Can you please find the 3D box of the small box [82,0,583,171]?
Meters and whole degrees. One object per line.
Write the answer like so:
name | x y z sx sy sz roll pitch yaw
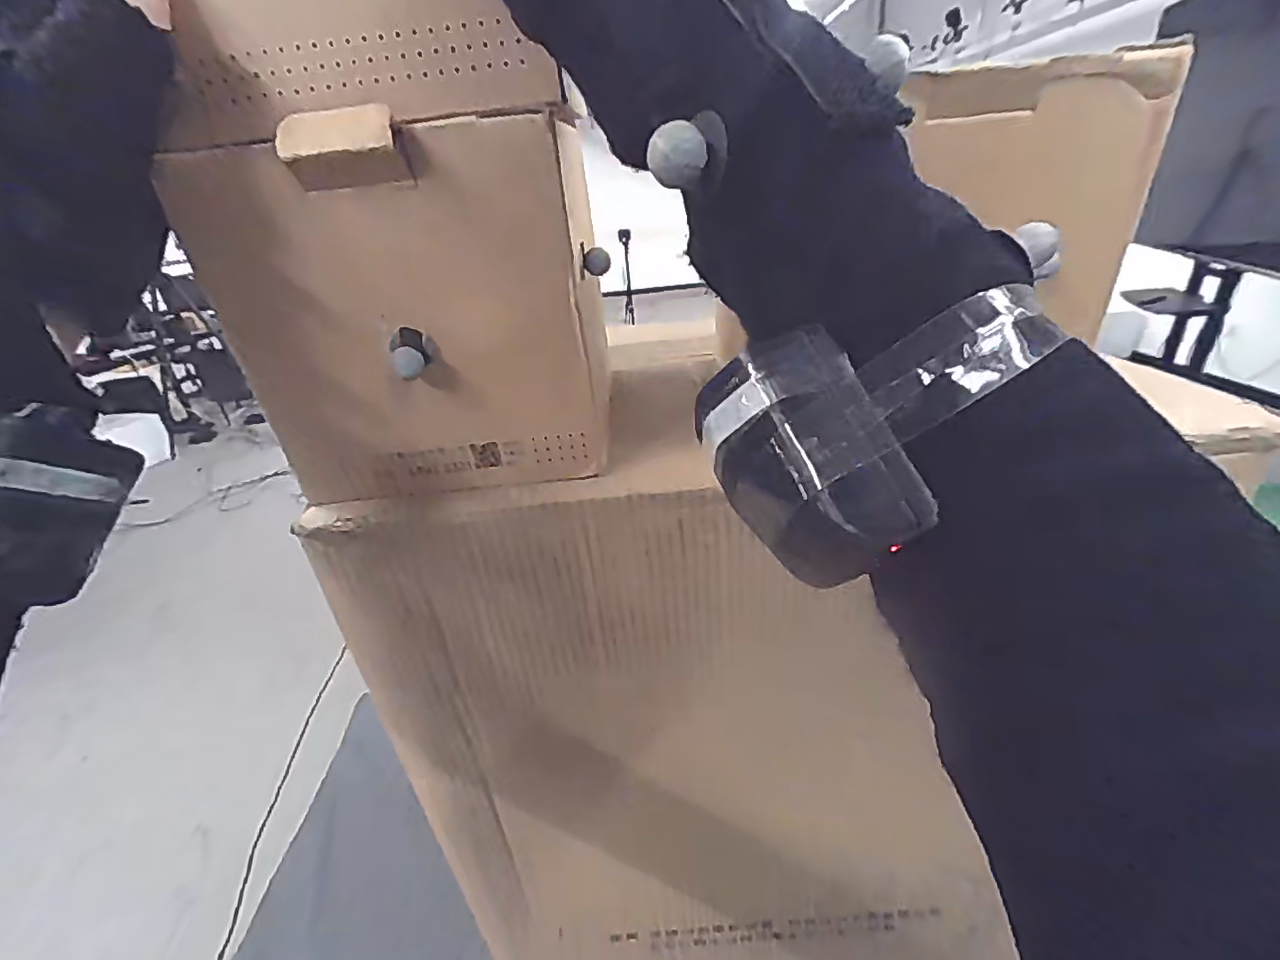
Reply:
small box | -0.125 -0.250 0.247 0.179 0.176 0.168 -6 31 2

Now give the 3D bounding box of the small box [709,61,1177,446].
small box | 0.135 -0.126 0.324 0.168 0.176 0.179 -3 29 0
